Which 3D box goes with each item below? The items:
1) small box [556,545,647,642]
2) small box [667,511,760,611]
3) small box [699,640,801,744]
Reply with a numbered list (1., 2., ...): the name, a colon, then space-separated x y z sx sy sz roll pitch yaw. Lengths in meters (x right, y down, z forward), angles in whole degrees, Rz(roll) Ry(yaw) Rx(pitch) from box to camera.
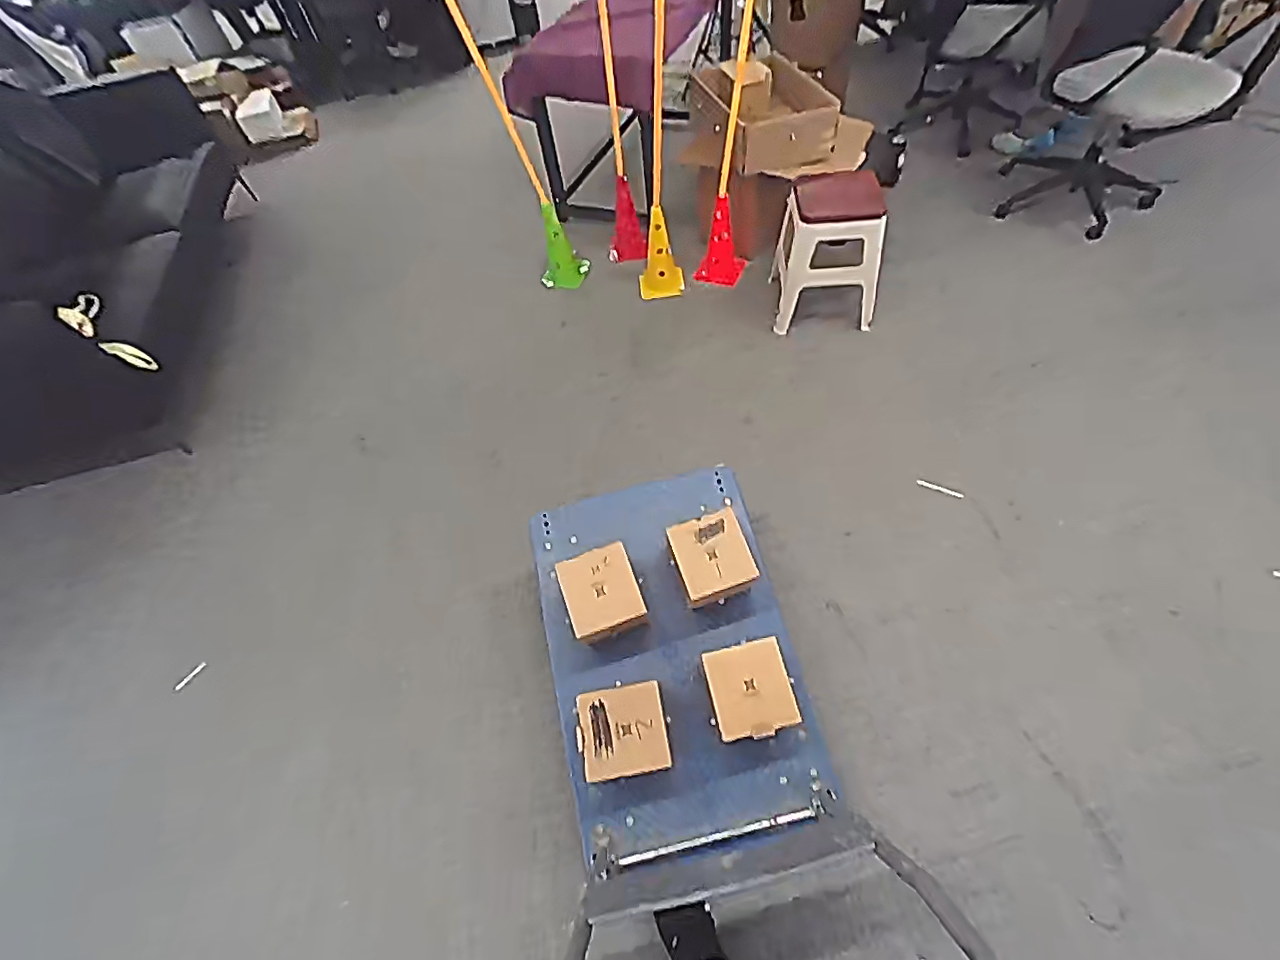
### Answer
1. small box: -0.086 0.277 1.282 0.168 0.176 0.179 -19 69 -5
2. small box: 0.168 0.199 1.299 0.168 0.176 0.179 -18 70 -3
3. small box: 0.232 0.466 1.193 0.168 0.176 0.179 -13 69 -2
